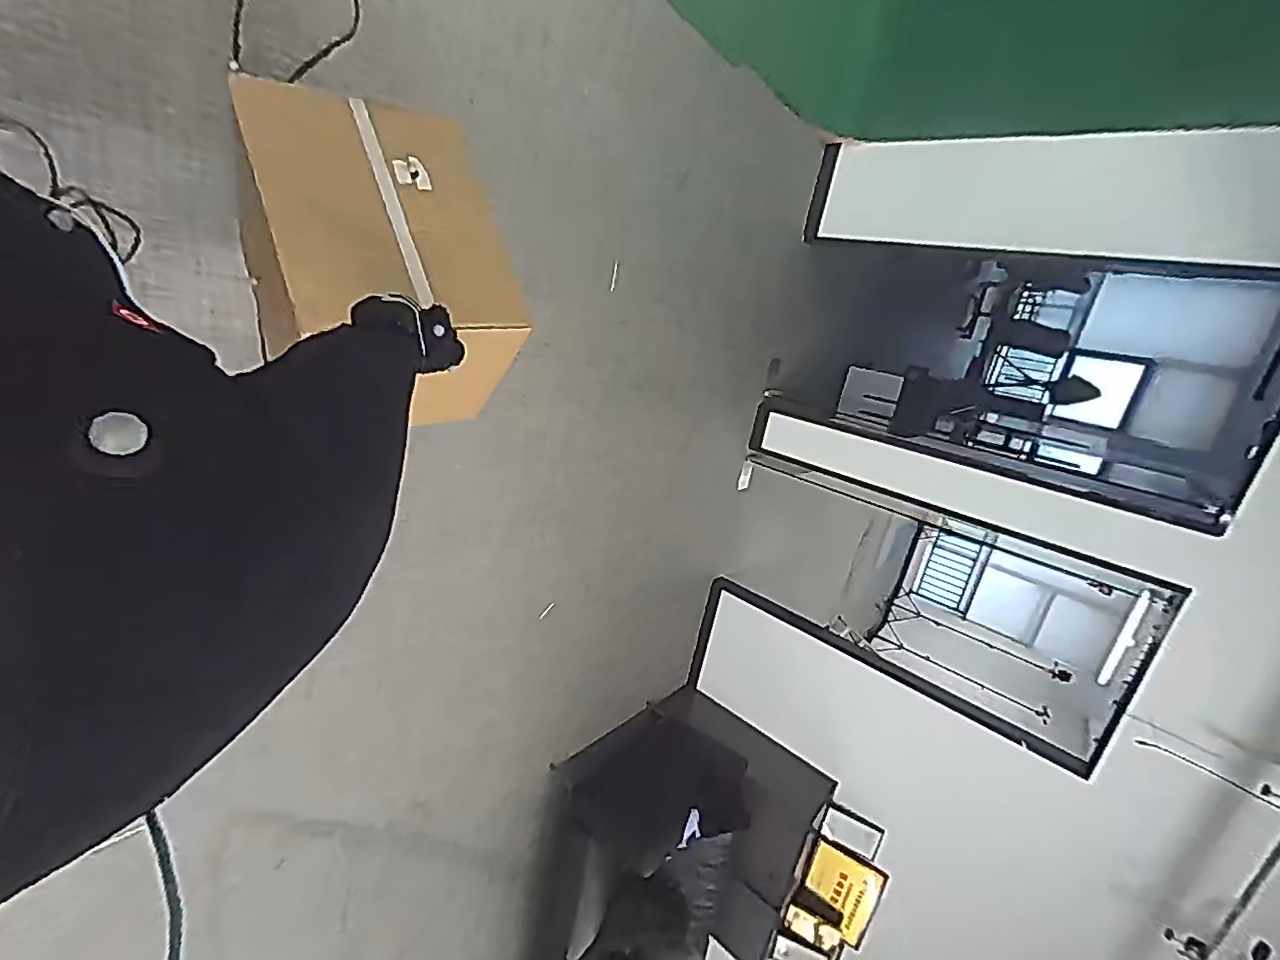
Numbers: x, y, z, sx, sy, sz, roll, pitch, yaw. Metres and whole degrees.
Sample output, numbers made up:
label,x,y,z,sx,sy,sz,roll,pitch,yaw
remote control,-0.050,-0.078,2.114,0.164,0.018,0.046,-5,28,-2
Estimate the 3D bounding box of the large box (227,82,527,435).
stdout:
label,x,y,z,sx,sy,sz,roll,pitch,yaw
large box,-0.440,-0.336,0.900,0.320,0.408,0.320,-14,165,-38
